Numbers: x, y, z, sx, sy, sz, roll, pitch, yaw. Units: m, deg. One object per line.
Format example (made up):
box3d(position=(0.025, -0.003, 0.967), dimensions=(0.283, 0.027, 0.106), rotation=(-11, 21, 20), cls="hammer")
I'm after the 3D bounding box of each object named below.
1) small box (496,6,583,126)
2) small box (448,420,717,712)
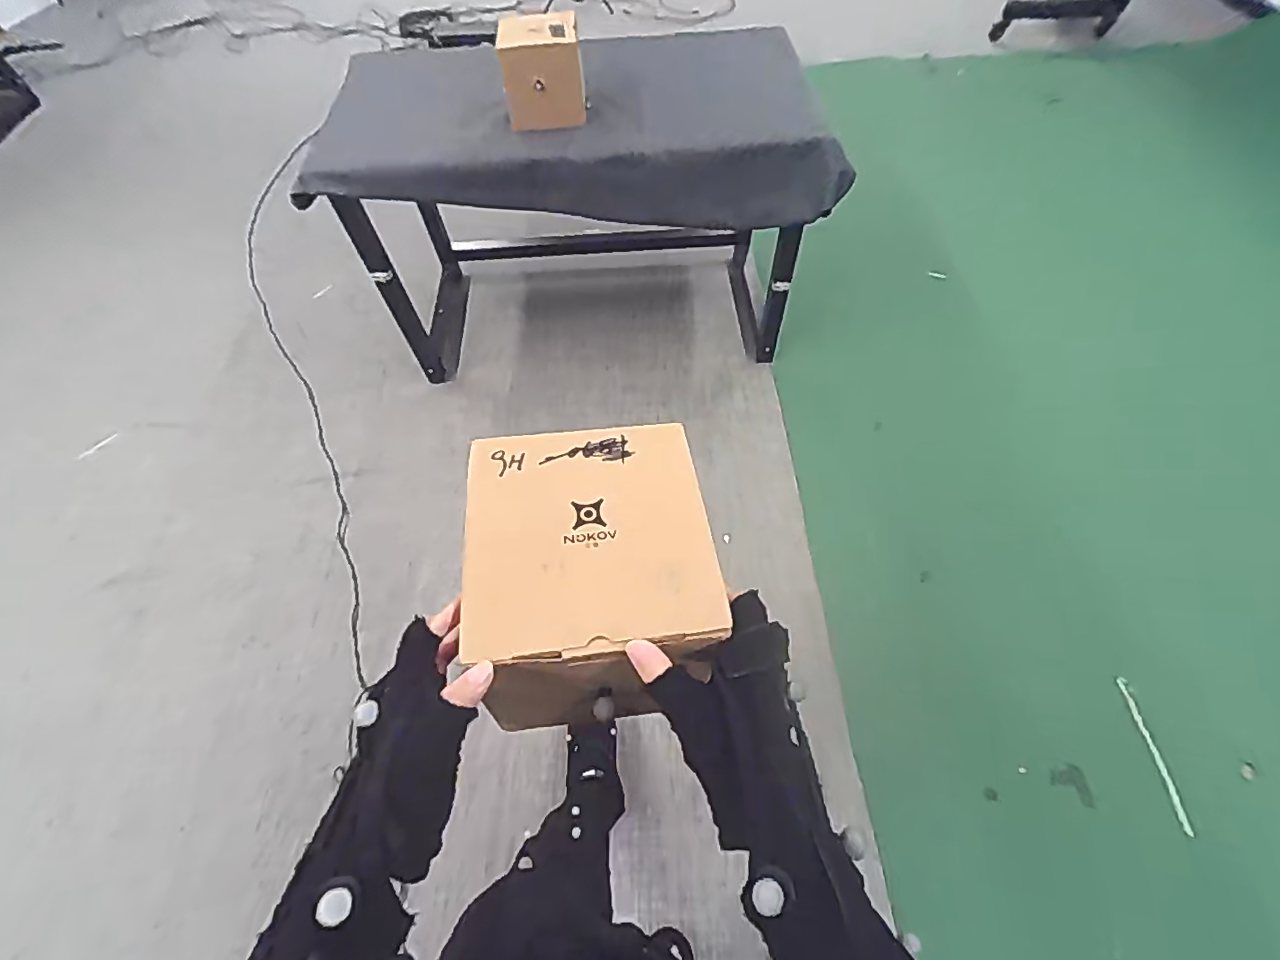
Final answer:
box3d(position=(-0.225, -0.945, 1.240), dimensions=(0.179, 0.176, 0.168), rotation=(-7, 59, -4), cls="small box")
box3d(position=(-0.044, 0.076, 0.433), dimensions=(0.168, 0.176, 0.179), rotation=(-5, 55, -6), cls="small box")
